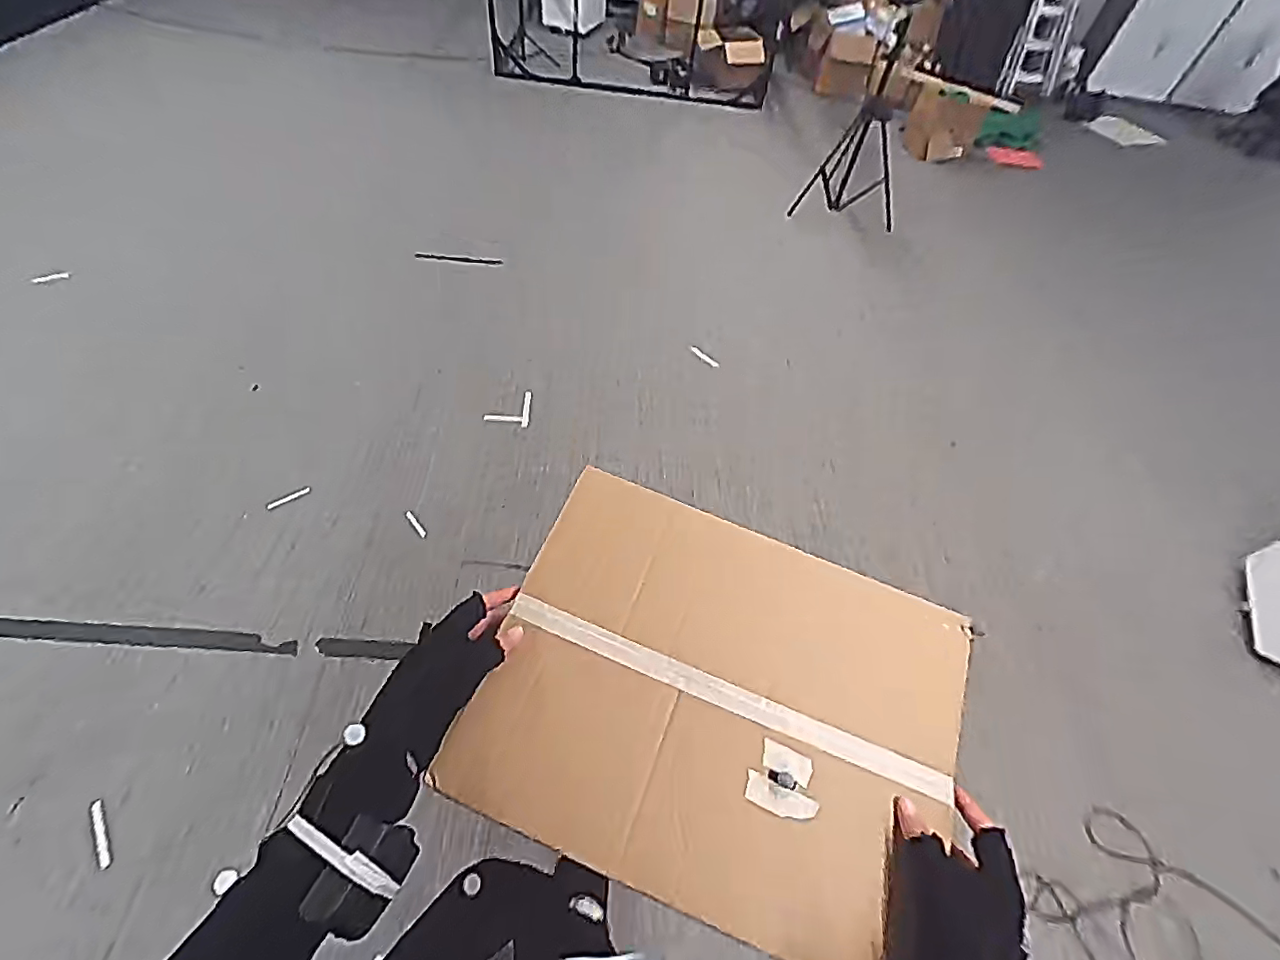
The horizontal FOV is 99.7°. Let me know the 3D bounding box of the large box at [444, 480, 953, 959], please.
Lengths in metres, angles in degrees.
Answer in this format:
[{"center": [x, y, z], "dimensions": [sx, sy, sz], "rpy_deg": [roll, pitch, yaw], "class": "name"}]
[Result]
[{"center": [0.060, 0.259, 0.623], "dimensions": [0.408, 0.320, 0.320], "rpy_deg": [22, 64, 6], "class": "large box"}]
